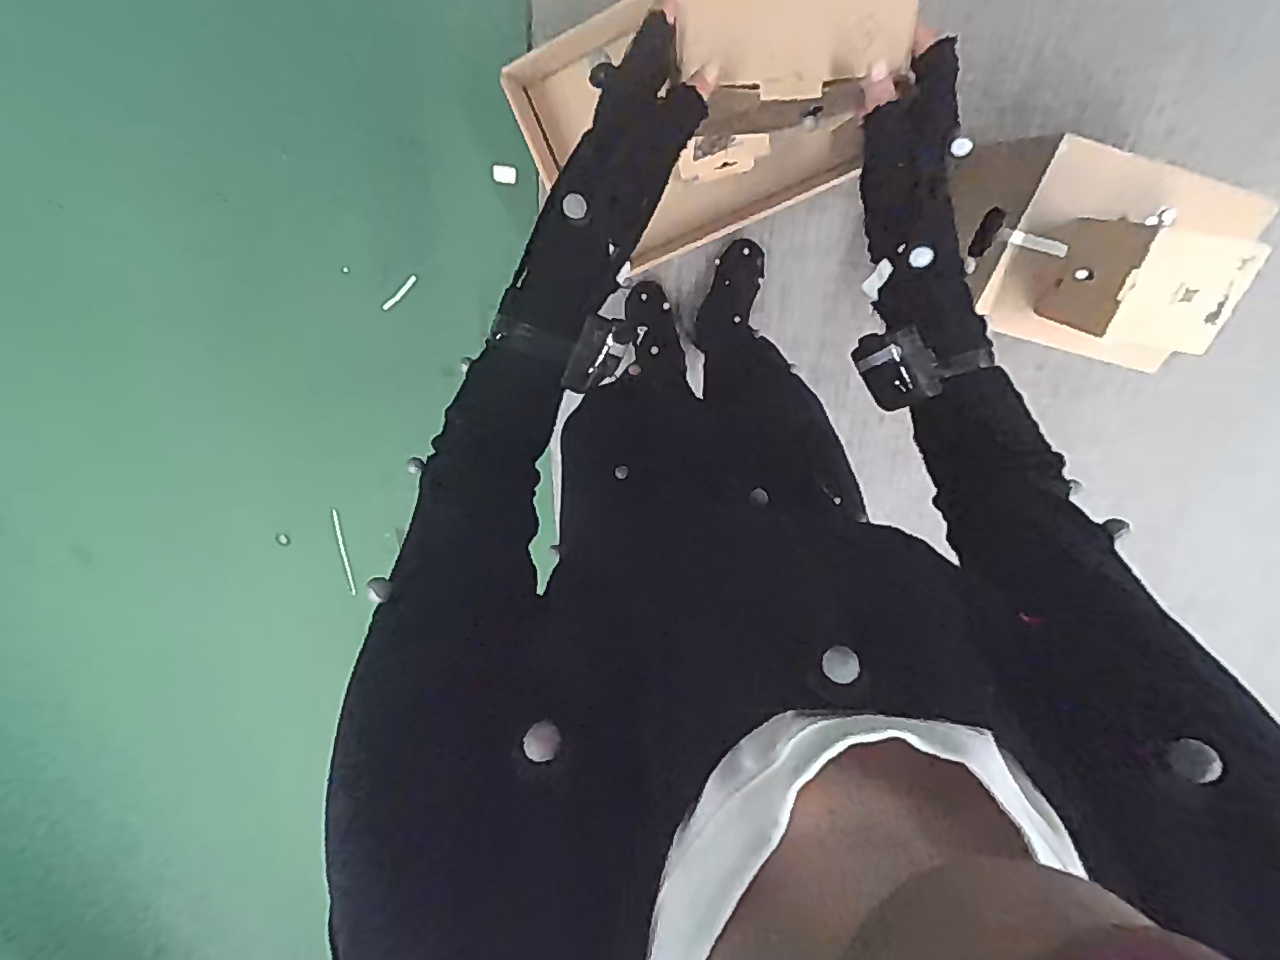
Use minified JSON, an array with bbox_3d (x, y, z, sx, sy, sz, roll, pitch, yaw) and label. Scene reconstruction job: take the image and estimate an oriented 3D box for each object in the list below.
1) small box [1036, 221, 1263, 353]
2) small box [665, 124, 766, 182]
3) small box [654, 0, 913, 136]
[{"bbox_3d":[0.809,-0.322,0.887,0.179,0.176,0.168,8,119,-3],"label":"small box"},{"bbox_3d":[0.132,-0.674,1.012,0.168,0.176,0.179,-12,116,9],"label":"small box"},{"bbox_3d":[0.096,-0.381,0.416,0.168,0.176,0.179,-3,111,1],"label":"small box"}]
